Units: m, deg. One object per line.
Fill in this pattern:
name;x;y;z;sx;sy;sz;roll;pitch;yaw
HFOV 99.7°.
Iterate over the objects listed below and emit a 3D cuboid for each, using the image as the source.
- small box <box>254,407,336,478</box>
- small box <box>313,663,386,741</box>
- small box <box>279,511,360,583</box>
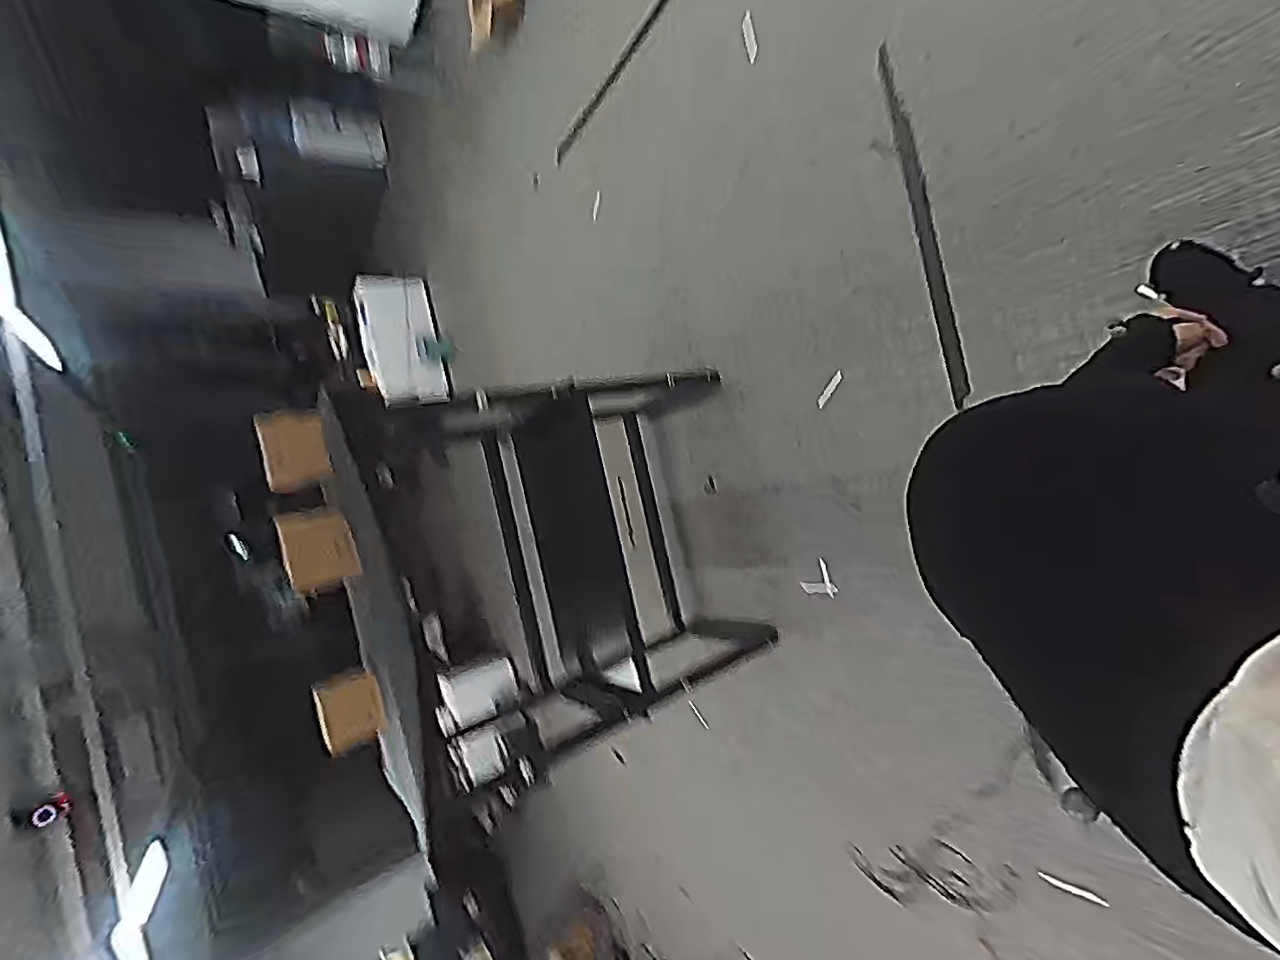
small box;-0.974;-0.105;1.534;0.179;0.176;0.168;-10;93;56
small box;-0.922;0.695;1.718;0.179;0.176;0.168;-16;88;54
small box;-0.907;0.188;1.534;0.179;0.176;0.168;-13;90;56
